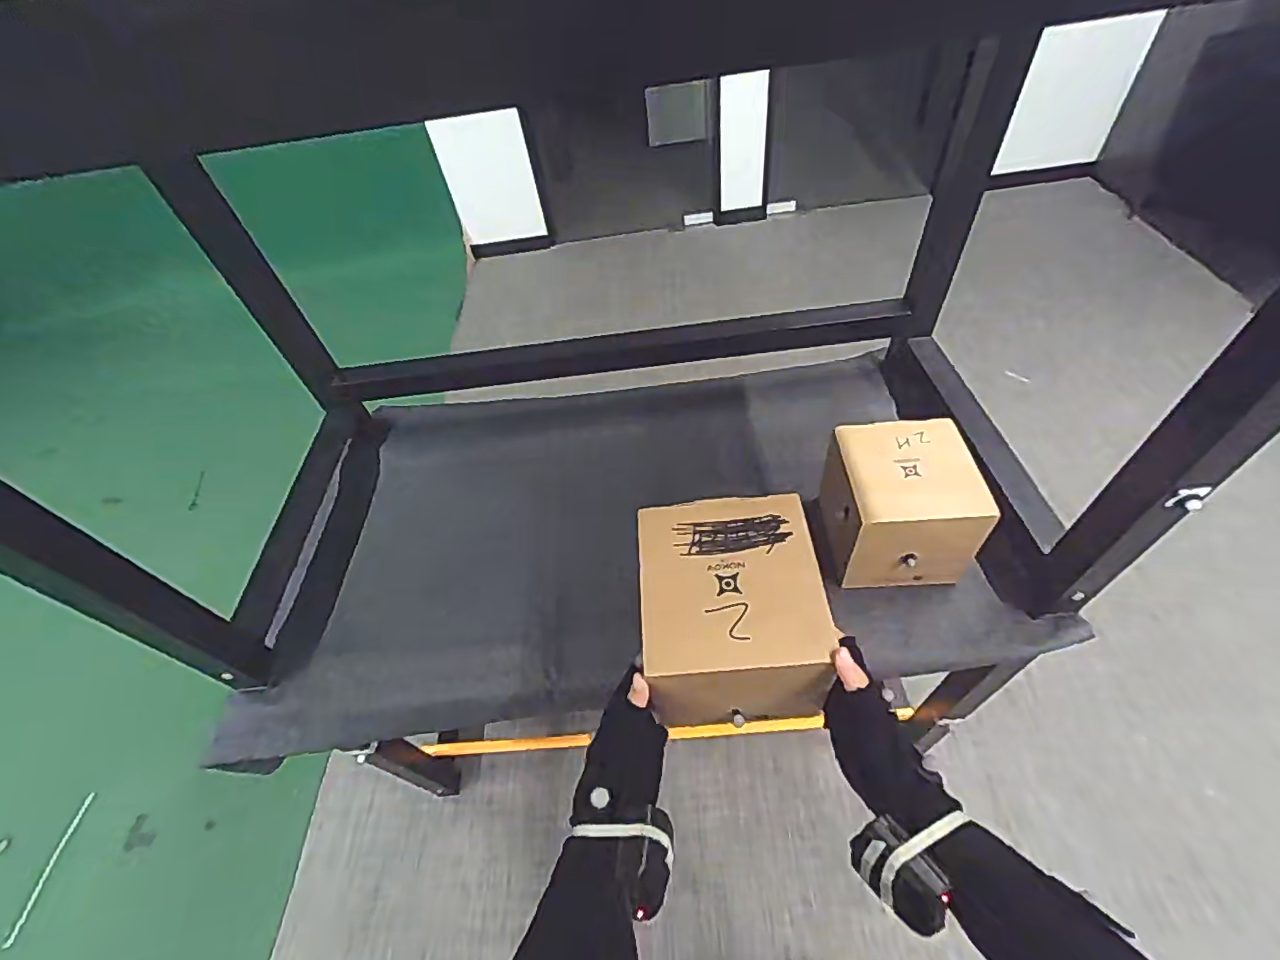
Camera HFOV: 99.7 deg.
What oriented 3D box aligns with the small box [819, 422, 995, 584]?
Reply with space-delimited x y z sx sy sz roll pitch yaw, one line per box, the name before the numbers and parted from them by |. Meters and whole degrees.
small box | 0.366 0.040 0.781 0.168 0.176 0.179 -3 49 6
